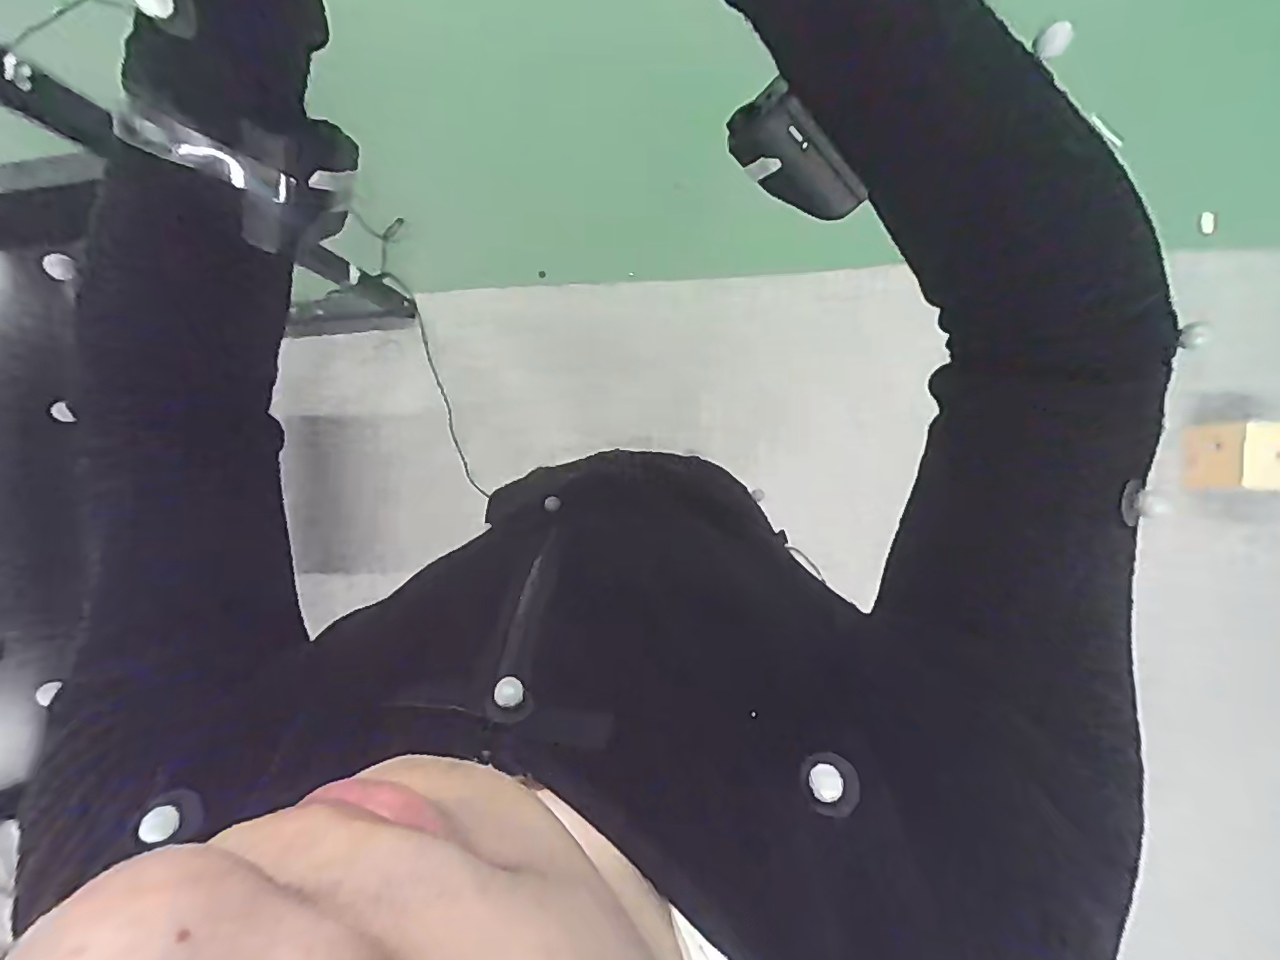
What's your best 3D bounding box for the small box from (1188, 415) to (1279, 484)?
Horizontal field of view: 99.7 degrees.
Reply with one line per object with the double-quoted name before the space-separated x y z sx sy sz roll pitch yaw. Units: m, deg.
"small box" 1.589 -0.076 1.402 0.179 0.176 0.168 2 92 4
